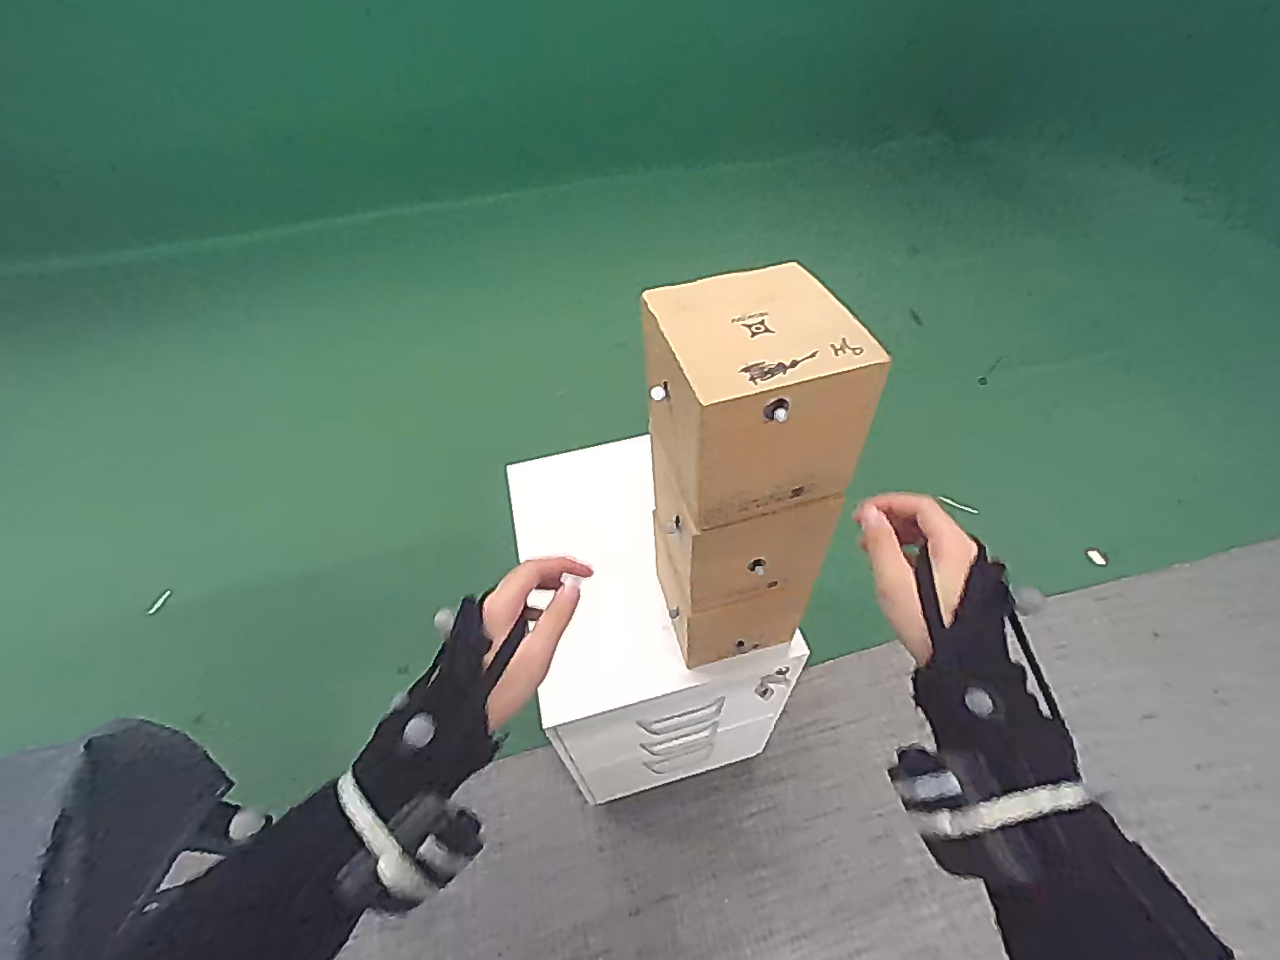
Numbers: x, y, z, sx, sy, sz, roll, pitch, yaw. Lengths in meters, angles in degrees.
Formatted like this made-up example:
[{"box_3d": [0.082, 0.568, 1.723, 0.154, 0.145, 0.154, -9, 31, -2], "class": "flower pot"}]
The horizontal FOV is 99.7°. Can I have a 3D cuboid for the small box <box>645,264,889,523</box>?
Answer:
[{"box_3d": [0.106, -0.086, 0.540, 0.168, 0.176, 0.179, -14, 49, -8], "class": "small box"}]

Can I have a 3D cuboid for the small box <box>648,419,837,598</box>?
[{"box_3d": [0.112, 0.026, 0.660, 0.168, 0.176, 0.179, -12, 50, -7], "class": "small box"}]
